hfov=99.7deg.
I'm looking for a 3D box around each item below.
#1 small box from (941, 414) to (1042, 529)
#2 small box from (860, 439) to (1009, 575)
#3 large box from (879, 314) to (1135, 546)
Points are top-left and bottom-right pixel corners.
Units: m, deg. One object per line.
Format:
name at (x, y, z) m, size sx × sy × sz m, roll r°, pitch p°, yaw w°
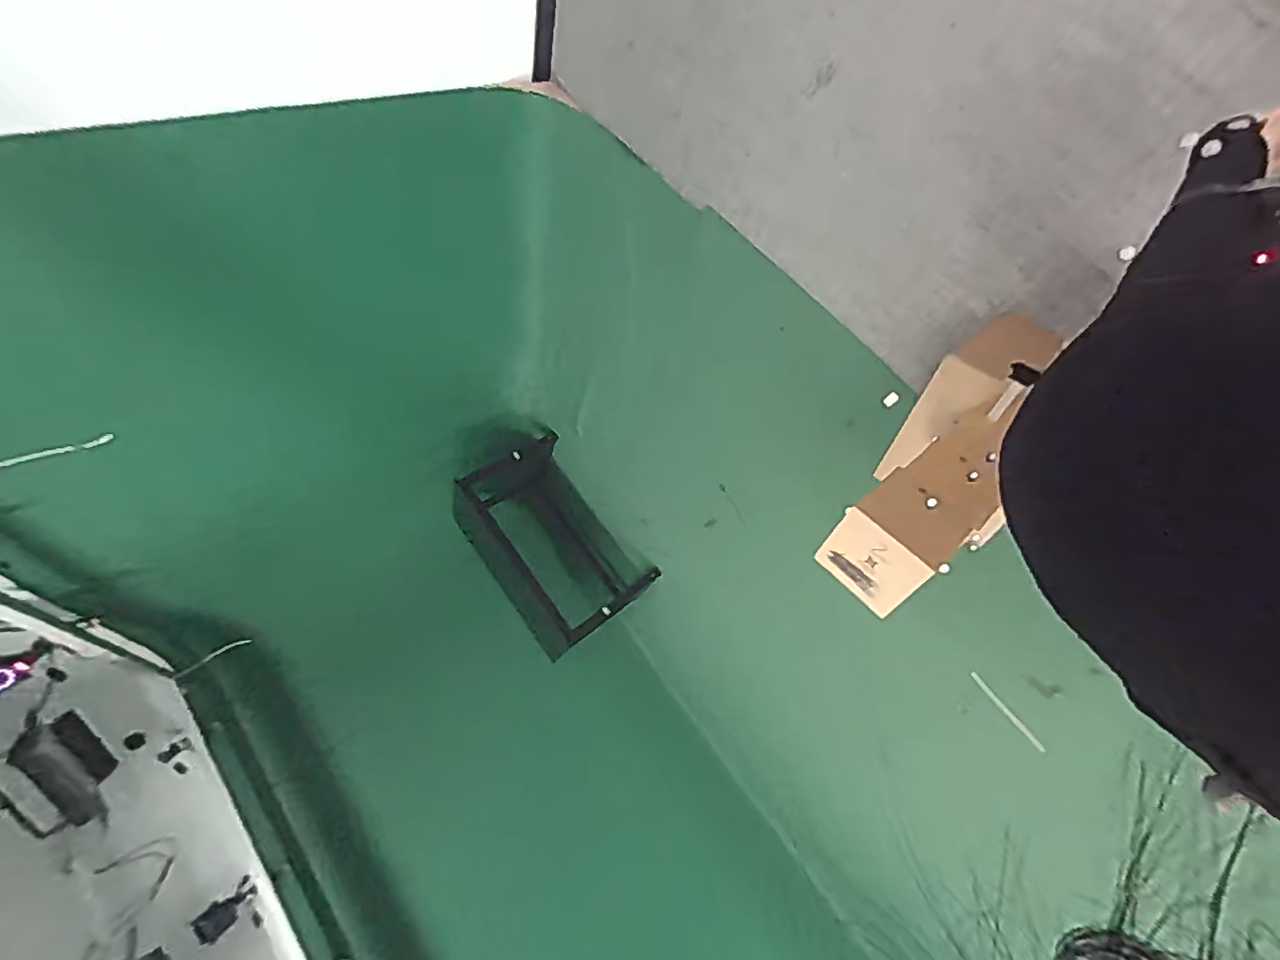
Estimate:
small box at (0.713, -0.014, 1.166) m, size 0.179 × 0.176 × 0.168 m, roll 44°, pitch 146°, yaw 23°
small box at (0.589, 0.052, 1.084) m, size 0.168 × 0.176 × 0.179 m, roll 45°, pitch 146°, yaw 22°
large box at (0.871, -0.125, 1.323) m, size 0.320 × 0.320 × 0.408 m, roll 42°, pitch 147°, yaw 28°
